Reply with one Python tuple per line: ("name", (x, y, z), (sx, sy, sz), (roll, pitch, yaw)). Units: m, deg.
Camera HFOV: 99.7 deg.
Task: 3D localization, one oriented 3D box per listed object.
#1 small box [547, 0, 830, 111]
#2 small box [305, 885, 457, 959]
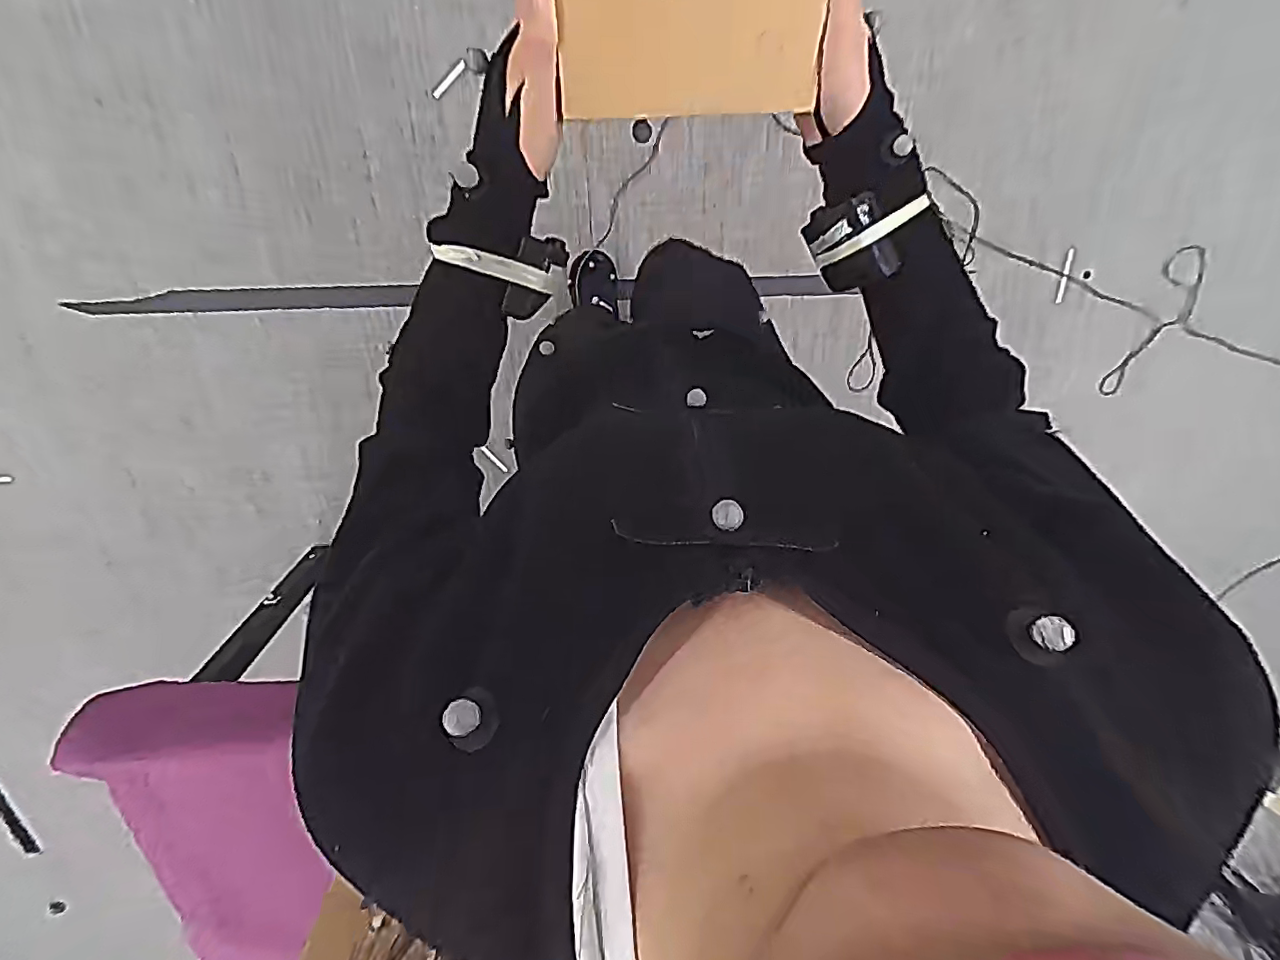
("small box", (0.021, -0.352, 0.358), (0.168, 0.176, 0.179), (-6, 123, -6))
("small box", (-0.354, 0.697, 0.734), (0.168, 0.176, 0.179), (-2, 111, -7))
